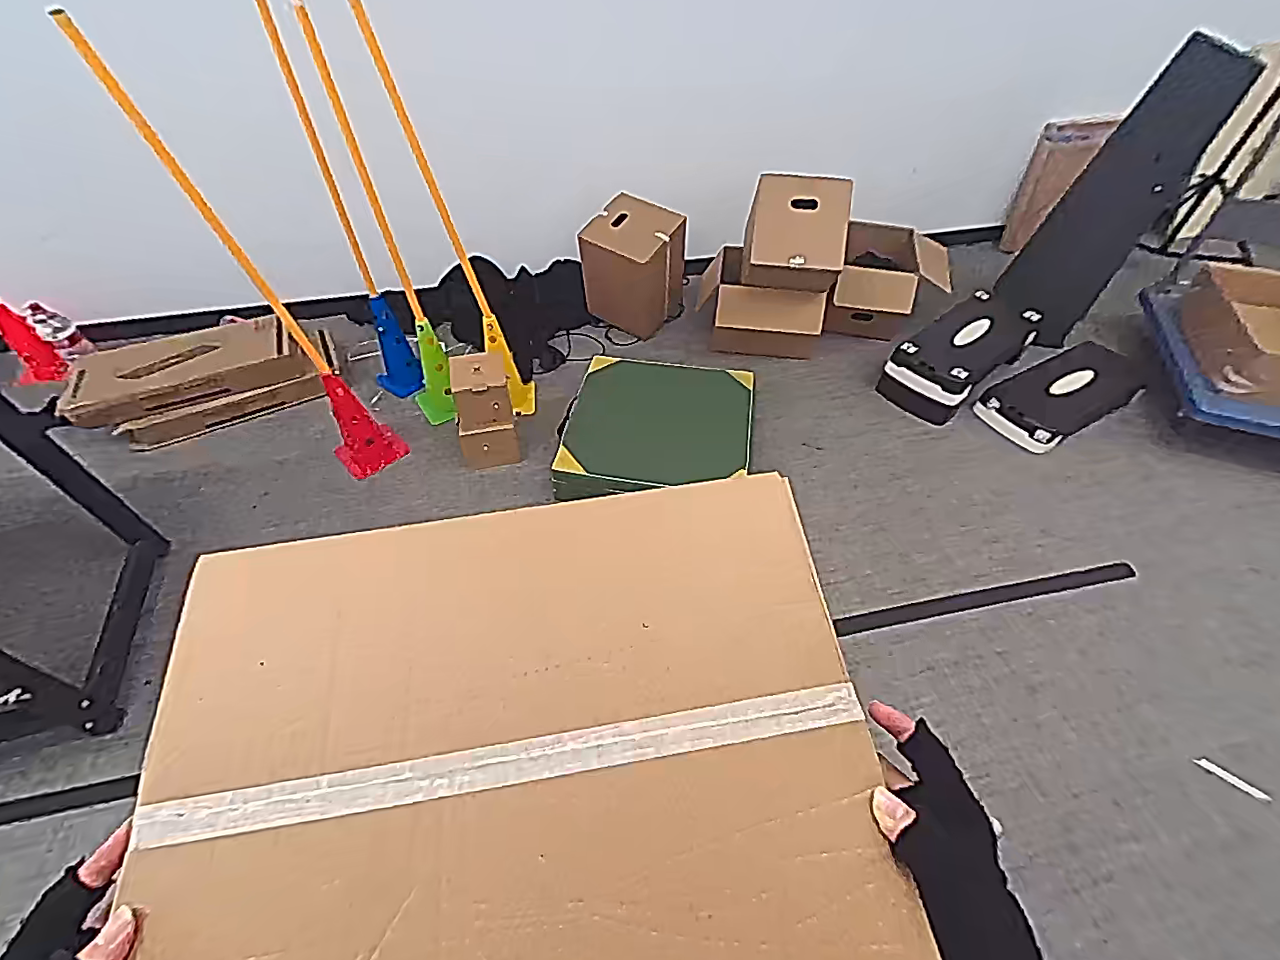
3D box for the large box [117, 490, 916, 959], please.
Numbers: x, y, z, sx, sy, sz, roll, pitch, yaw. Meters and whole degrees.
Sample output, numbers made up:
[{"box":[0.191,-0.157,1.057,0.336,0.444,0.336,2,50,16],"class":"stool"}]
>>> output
[{"box":[-0.072,0.237,0.445,0.408,0.320,0.320,-8,61,-3],"class":"large box"}]
